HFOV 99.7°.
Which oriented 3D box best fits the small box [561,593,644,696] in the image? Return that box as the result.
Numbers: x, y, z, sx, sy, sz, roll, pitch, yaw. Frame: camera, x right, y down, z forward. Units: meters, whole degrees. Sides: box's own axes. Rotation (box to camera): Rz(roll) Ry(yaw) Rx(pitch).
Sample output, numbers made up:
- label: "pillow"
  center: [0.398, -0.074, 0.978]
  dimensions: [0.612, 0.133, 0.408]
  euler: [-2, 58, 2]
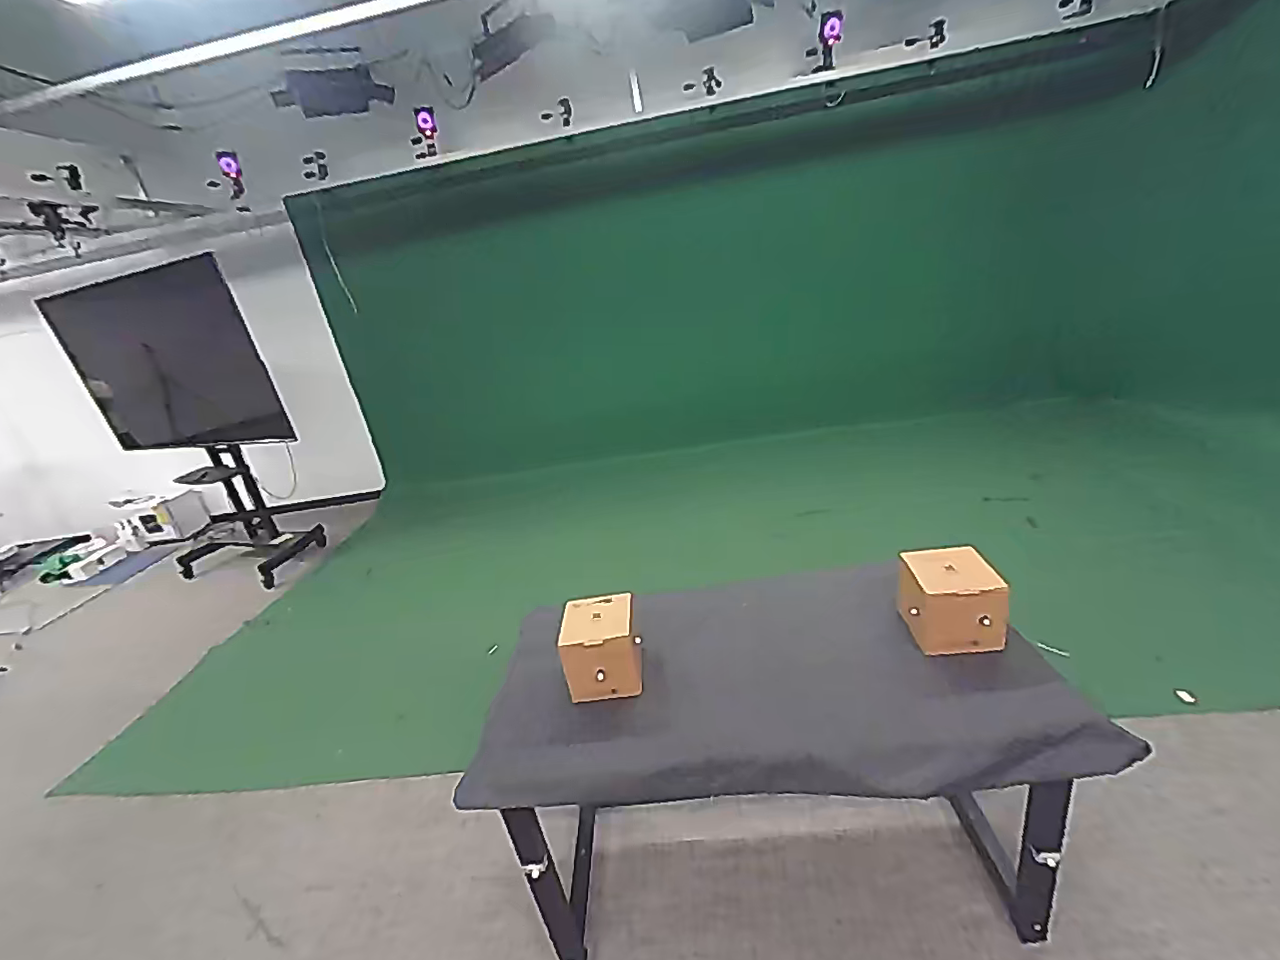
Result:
- label: "small box"
  center: [-0.083, 0.401, 1.305]
  dimensions: [0.168, 0.176, 0.179]
  euler: [-8, 22, 4]

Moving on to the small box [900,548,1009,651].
- label: "small box"
  center: [0.712, 0.278, 1.242]
  dimensions: [0.168, 0.176, 0.179]
  euler: [-6, 21, 8]
